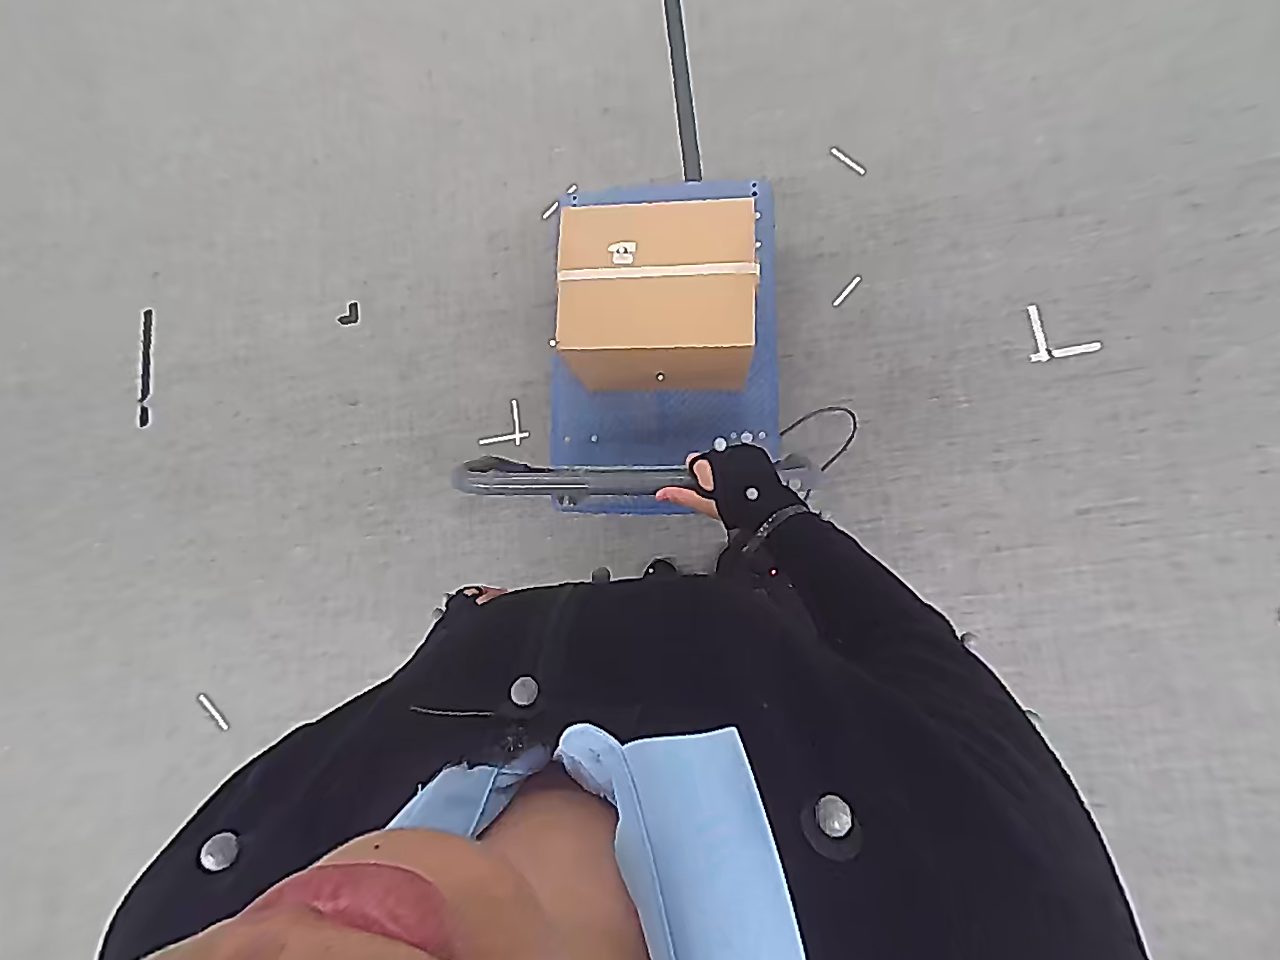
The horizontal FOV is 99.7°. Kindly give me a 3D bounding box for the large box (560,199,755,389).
[{"bbox_3d":[0.053,-0.405,1.262,0.408,0.320,0.320,0,83,8],"label":"large box"}]
